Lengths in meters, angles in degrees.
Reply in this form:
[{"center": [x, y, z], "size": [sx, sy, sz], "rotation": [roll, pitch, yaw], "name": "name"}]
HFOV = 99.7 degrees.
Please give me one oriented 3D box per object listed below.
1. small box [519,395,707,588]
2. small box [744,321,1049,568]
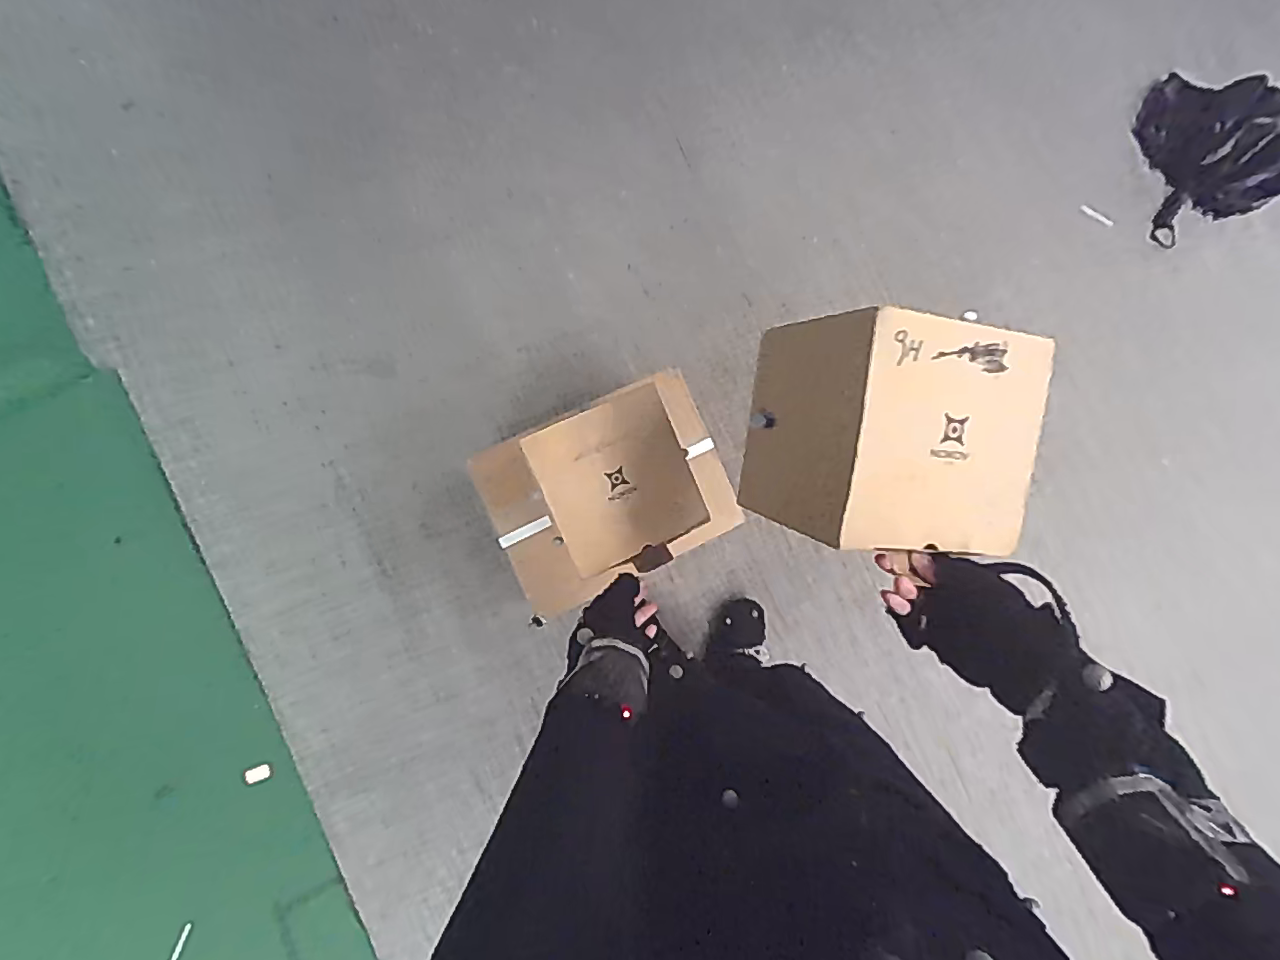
[{"center": [-0.039, 0.009, 0.691], "size": [0.168, 0.176, 0.179], "rotation": [-26, 95, -8], "name": "small box"}, {"center": [0.209, -0.033, 0.487], "size": [0.168, 0.176, 0.179], "rotation": [5, 98, -16], "name": "small box"}]
